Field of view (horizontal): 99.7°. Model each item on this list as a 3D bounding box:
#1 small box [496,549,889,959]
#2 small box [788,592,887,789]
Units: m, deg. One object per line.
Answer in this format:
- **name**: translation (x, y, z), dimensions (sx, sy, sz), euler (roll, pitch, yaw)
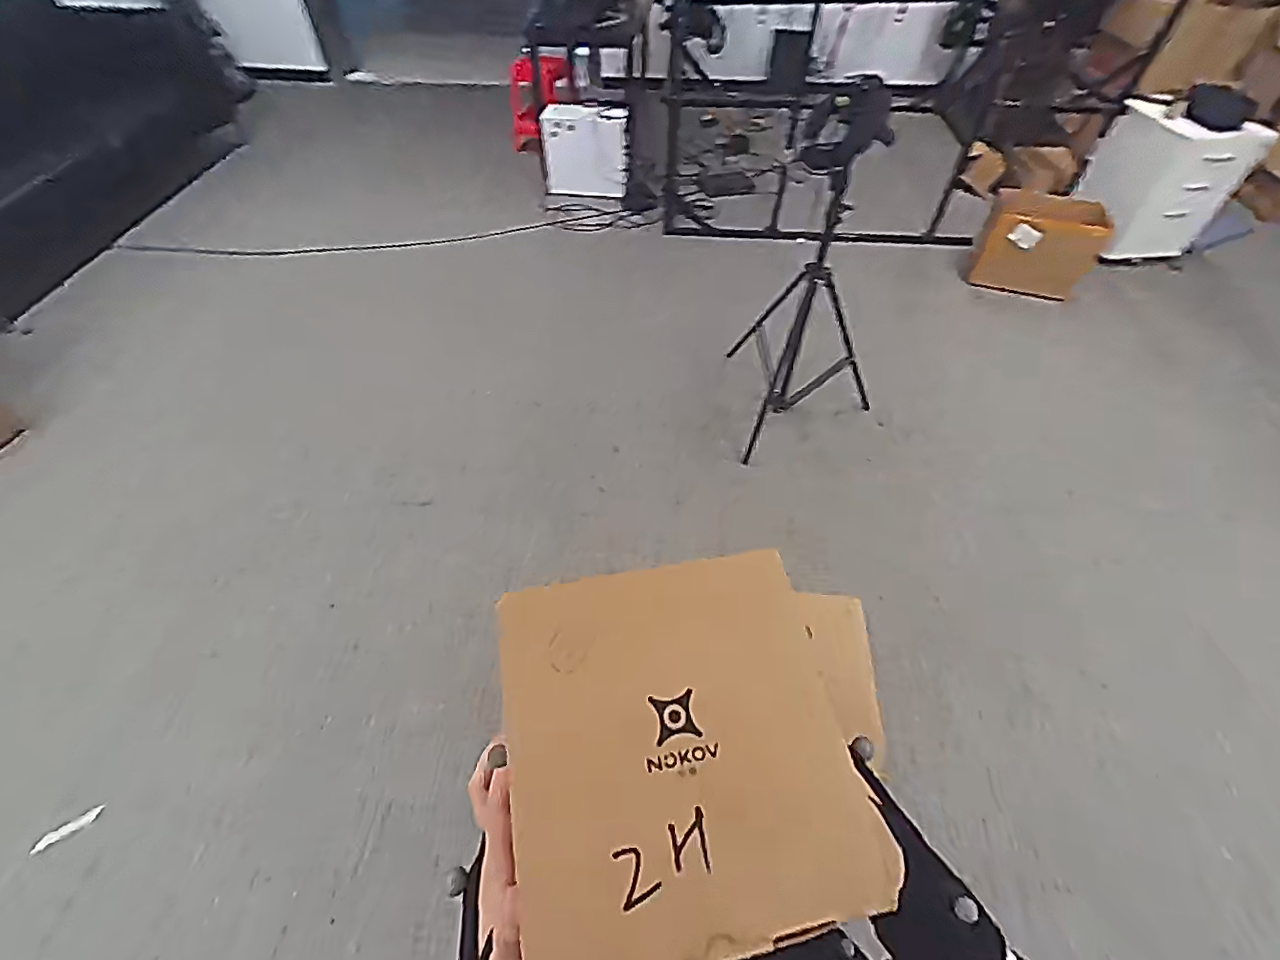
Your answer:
- **small box**: translation (0.011, 0.165, 0.338), dimensions (0.168, 0.176, 0.179), euler (-10, 63, -8)
- **small box**: translation (0.145, 0.235, 0.586), dimensions (0.168, 0.176, 0.179), euler (5, 52, 4)
